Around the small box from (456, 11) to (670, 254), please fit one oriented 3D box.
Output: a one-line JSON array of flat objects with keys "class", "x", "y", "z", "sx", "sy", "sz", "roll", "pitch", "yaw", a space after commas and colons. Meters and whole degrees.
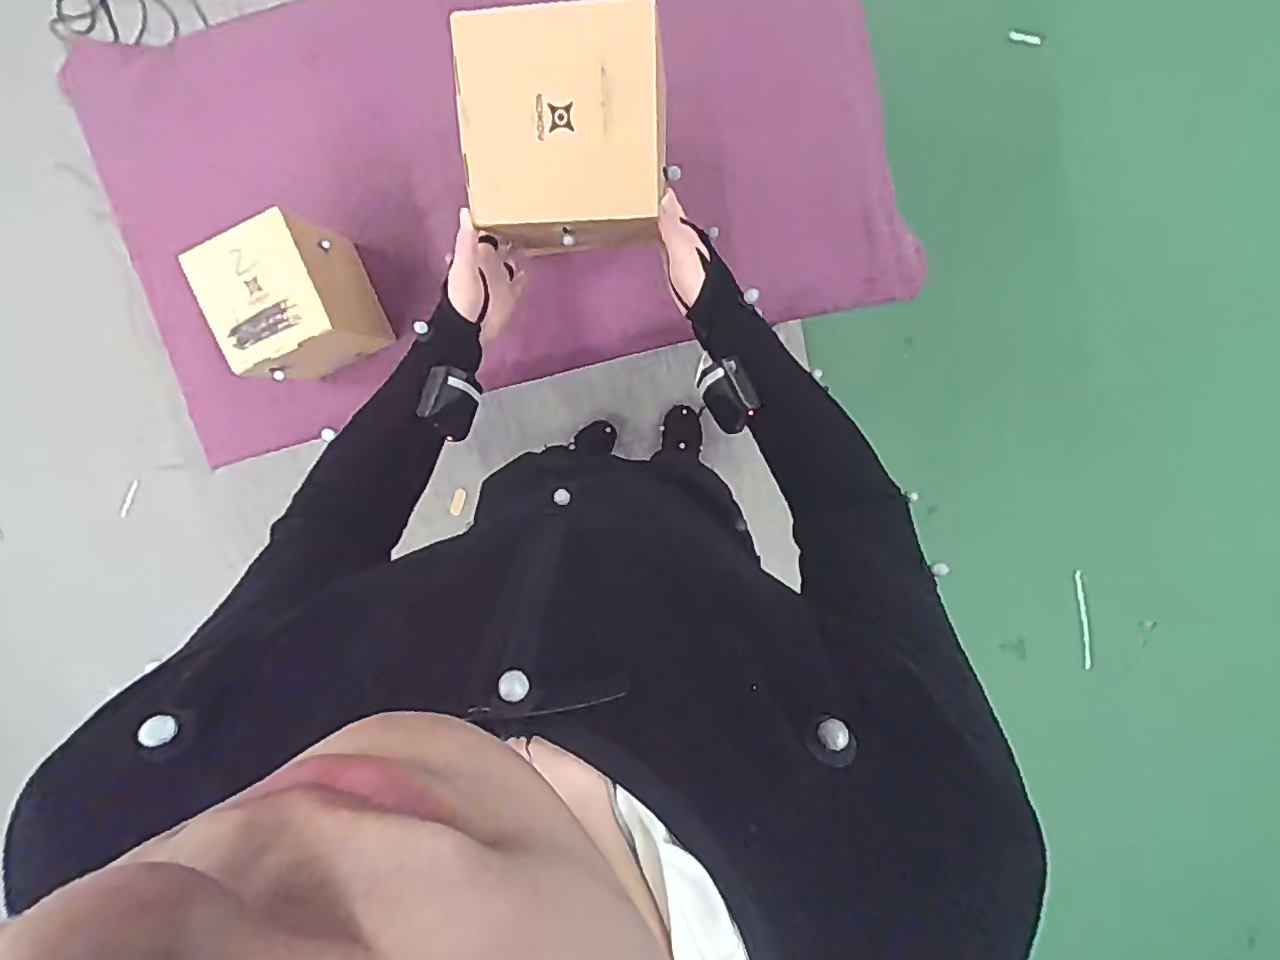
[{"class": "small box", "x": -0.062, "y": -0.327, "z": 0.547, "sx": 0.179, "sy": 0.176, "sz": 0.168, "roll": 0, "pitch": 107, "yaw": 5}]
